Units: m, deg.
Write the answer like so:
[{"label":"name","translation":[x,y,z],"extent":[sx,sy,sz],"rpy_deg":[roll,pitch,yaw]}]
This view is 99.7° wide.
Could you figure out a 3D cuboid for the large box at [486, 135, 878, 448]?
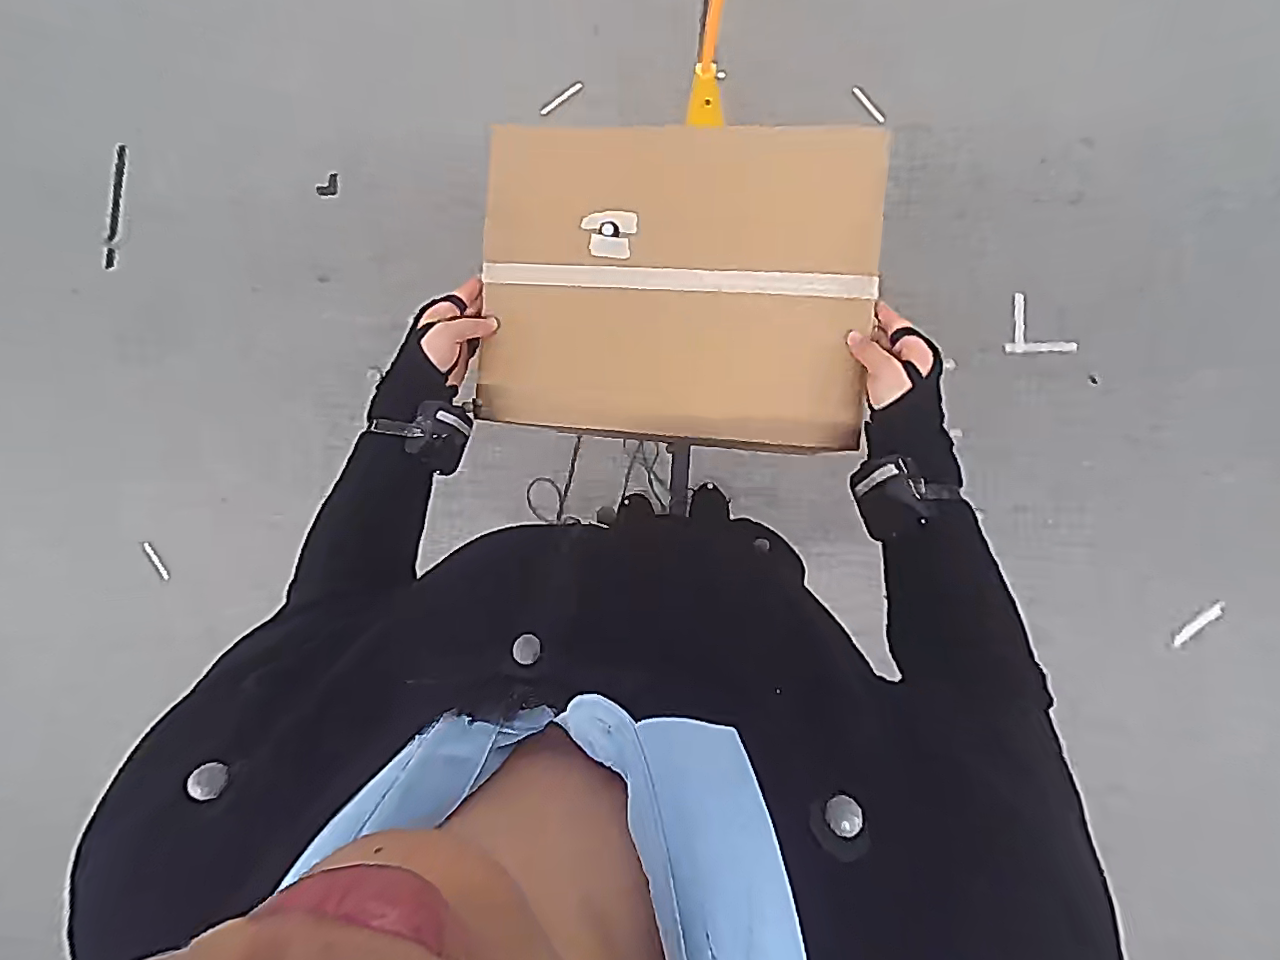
[{"label":"large box","translation":[0.056,-0.207,0.716],"extent":[0.408,0.320,0.320],"rpy_deg":[5,91,8]}]
